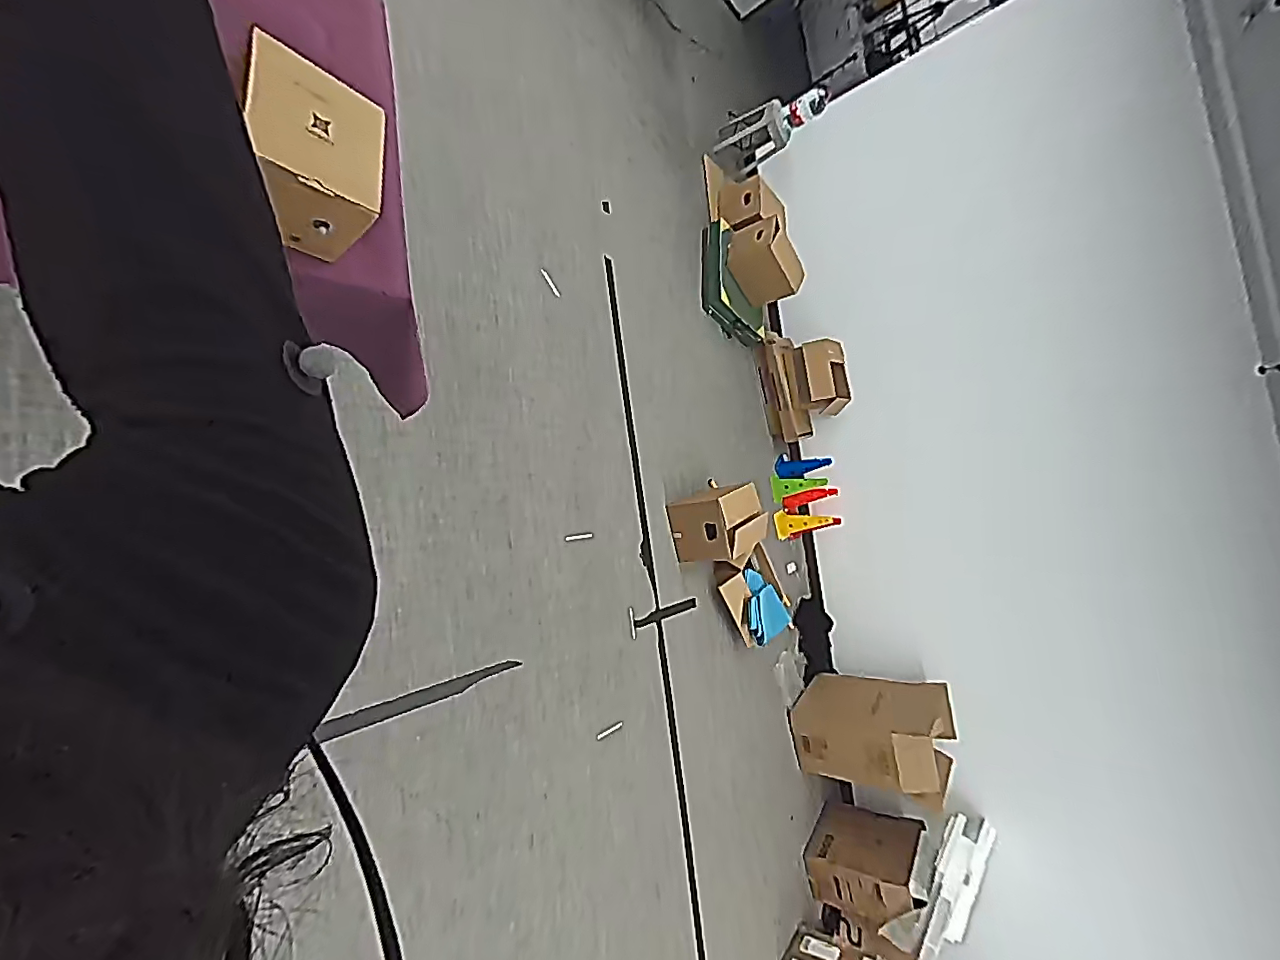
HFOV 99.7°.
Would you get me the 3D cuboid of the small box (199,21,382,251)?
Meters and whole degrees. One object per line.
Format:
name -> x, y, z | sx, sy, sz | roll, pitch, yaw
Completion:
small box -> -0.484, -0.454, 0.752 | 0.168, 0.176, 0.179 | 11, 72, -52
